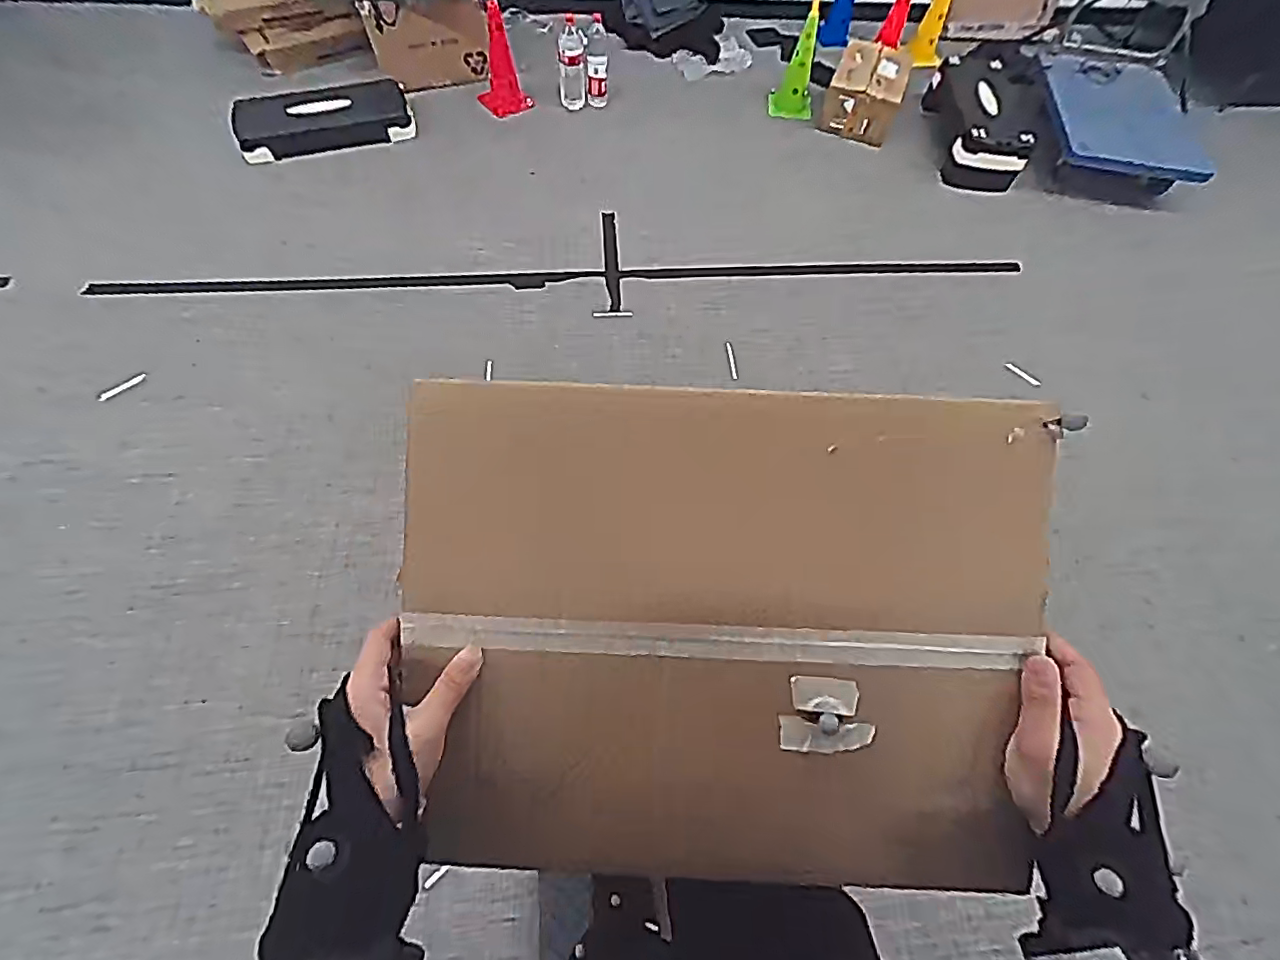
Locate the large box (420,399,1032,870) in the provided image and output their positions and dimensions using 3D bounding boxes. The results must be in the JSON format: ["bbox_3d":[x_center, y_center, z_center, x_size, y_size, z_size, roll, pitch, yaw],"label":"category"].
[{"bbox_3d":[0.052,0.101,0.504,0.408,0.320,0.320,2,93,0],"label":"large box"}]
